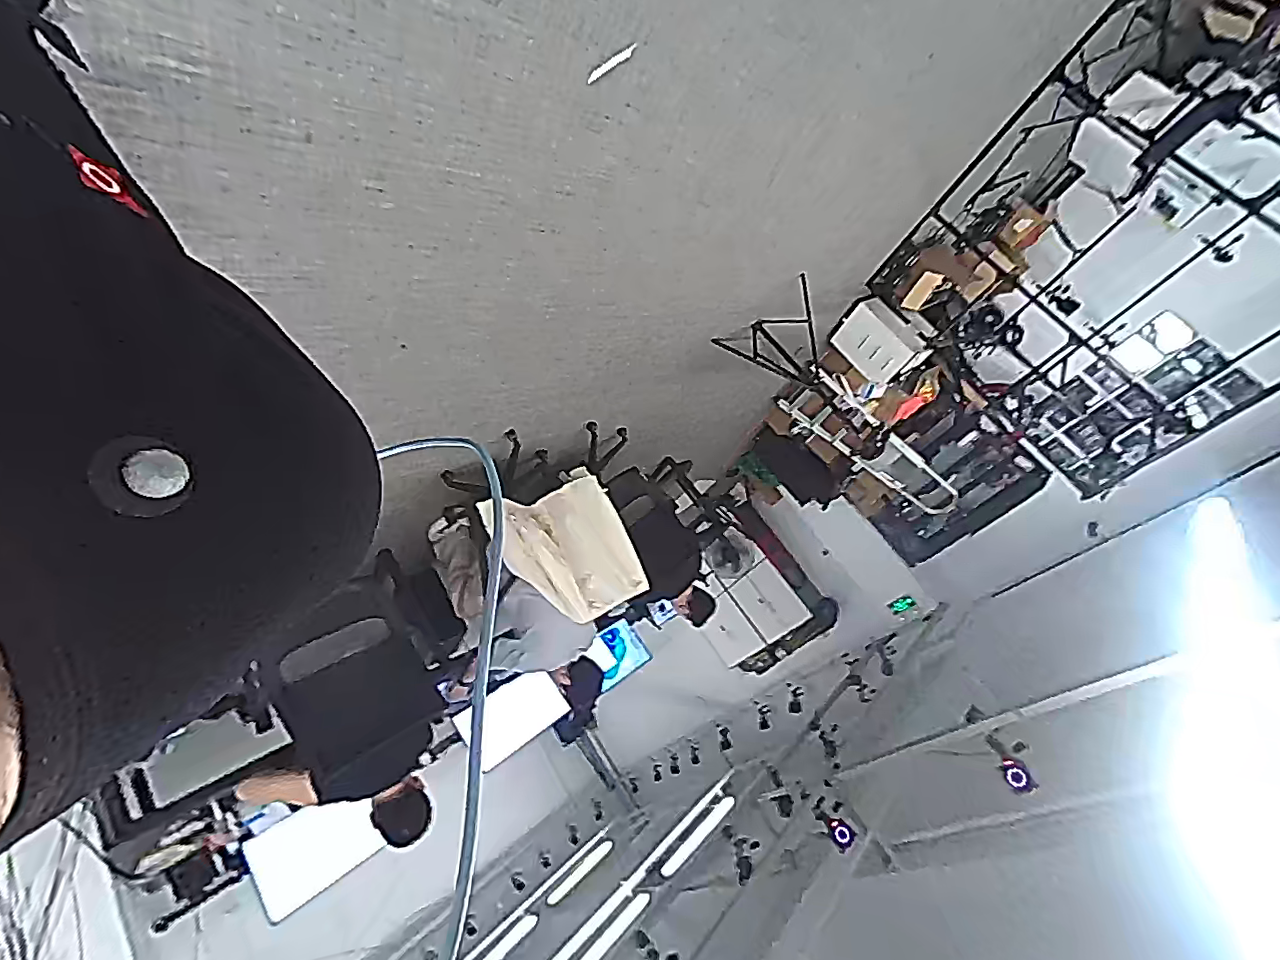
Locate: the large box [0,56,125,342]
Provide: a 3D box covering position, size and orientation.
[{"bbox_3d":[-1.076,-0.413,0.777,0.408,0.320,0.320,-20,156,-45],"label":"large box"}]
